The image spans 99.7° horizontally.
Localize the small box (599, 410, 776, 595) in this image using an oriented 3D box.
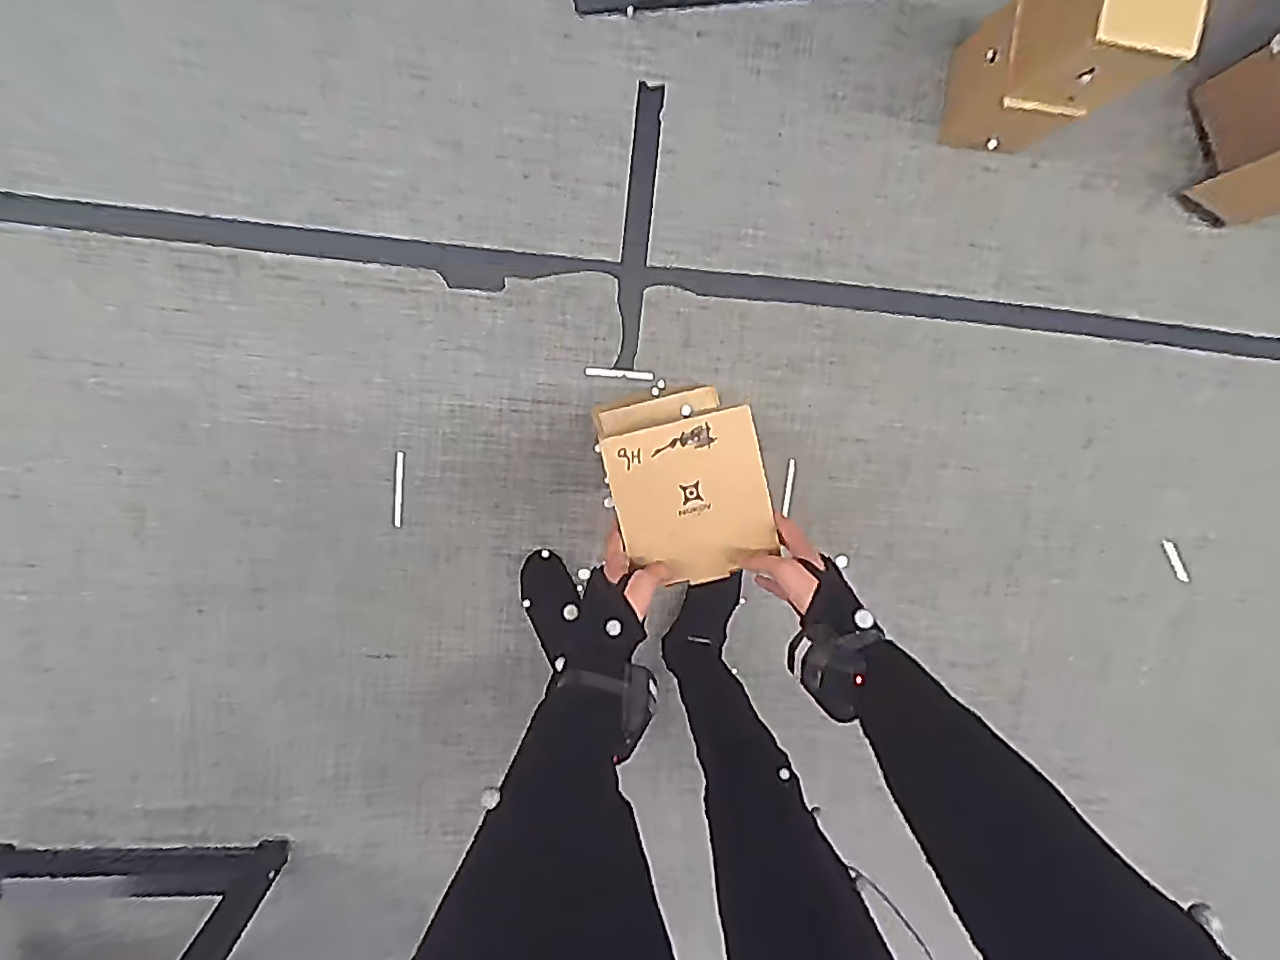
[{"bbox_3d":[0.051,0.016,0.660,0.168,0.176,0.179,-13,98,-1],"label":"small box"}]
